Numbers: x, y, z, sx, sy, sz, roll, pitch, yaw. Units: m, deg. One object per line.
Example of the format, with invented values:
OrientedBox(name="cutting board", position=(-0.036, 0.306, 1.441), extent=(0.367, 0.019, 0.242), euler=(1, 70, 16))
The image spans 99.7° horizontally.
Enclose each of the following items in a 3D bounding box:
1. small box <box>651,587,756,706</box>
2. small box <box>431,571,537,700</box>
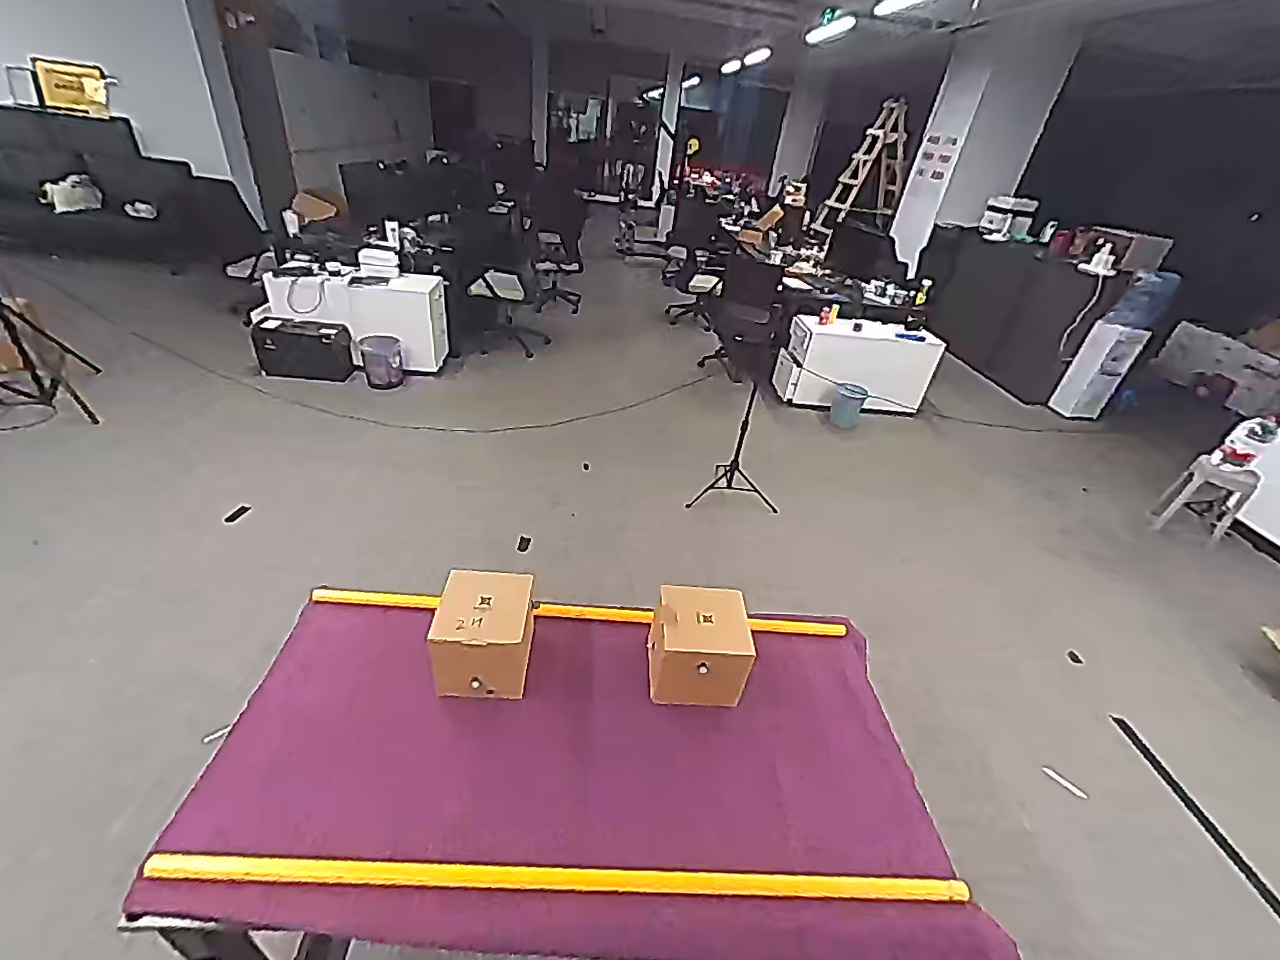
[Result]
OrientedBox(name="small box", position=(0.120, 0.341, 1.104), extent=(0.179, 0.176, 0.168), euler=(4, 35, -4))
OrientedBox(name="small box", position=(-0.300, 0.305, 1.068), extent=(0.168, 0.176, 0.179), euler=(5, 35, -5))
